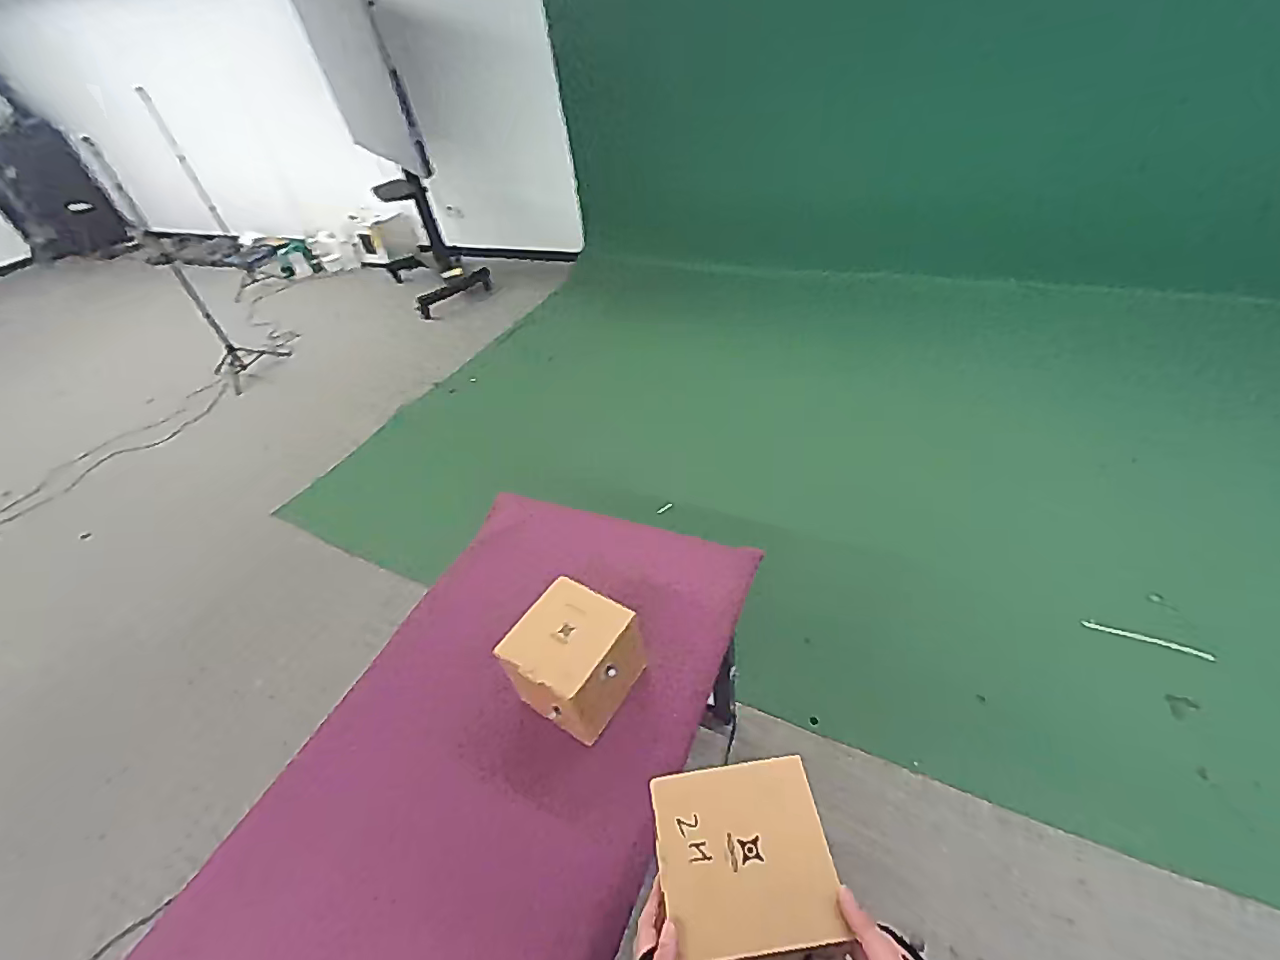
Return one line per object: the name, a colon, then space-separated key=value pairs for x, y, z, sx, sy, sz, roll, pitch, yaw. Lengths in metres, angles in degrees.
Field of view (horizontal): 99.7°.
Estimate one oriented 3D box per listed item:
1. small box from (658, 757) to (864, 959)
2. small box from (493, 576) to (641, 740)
small box: x=0.122 y=0.436 z=0.603 sx=0.179 sy=0.176 sz=0.168 roll=-9 pitch=42 yaw=1
small box: x=-0.112 y=0.304 z=0.922 sx=0.168 sy=0.176 sz=0.179 roll=21 pitch=50 yaw=29
